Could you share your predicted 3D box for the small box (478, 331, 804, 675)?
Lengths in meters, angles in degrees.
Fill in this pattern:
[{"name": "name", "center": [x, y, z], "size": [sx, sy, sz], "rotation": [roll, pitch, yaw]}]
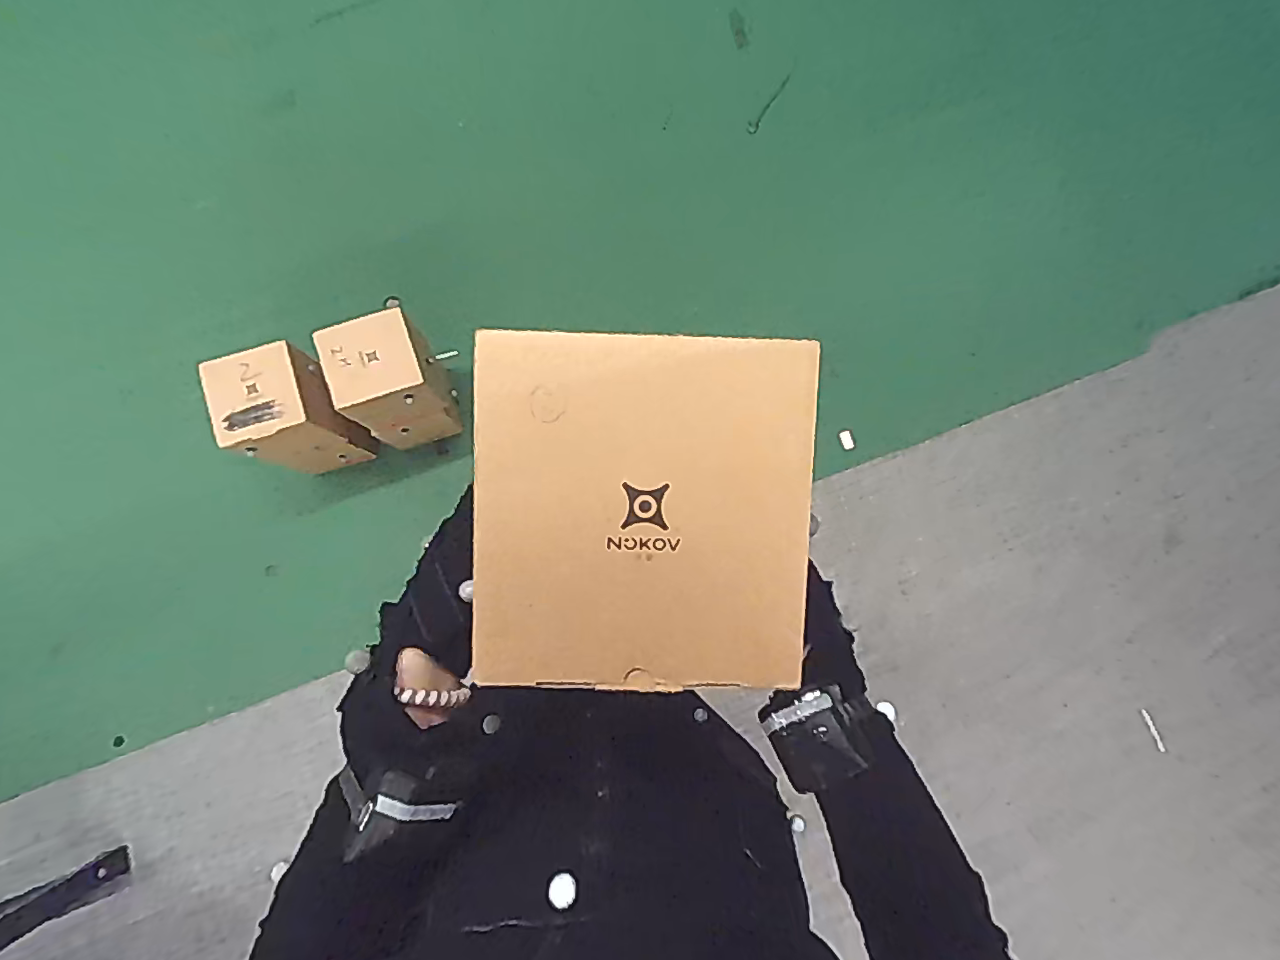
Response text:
[{"name": "small box", "center": [-0.003, 0.009, 0.355], "size": [0.168, 0.176, 0.179], "rotation": [1, 95, -1]}]
